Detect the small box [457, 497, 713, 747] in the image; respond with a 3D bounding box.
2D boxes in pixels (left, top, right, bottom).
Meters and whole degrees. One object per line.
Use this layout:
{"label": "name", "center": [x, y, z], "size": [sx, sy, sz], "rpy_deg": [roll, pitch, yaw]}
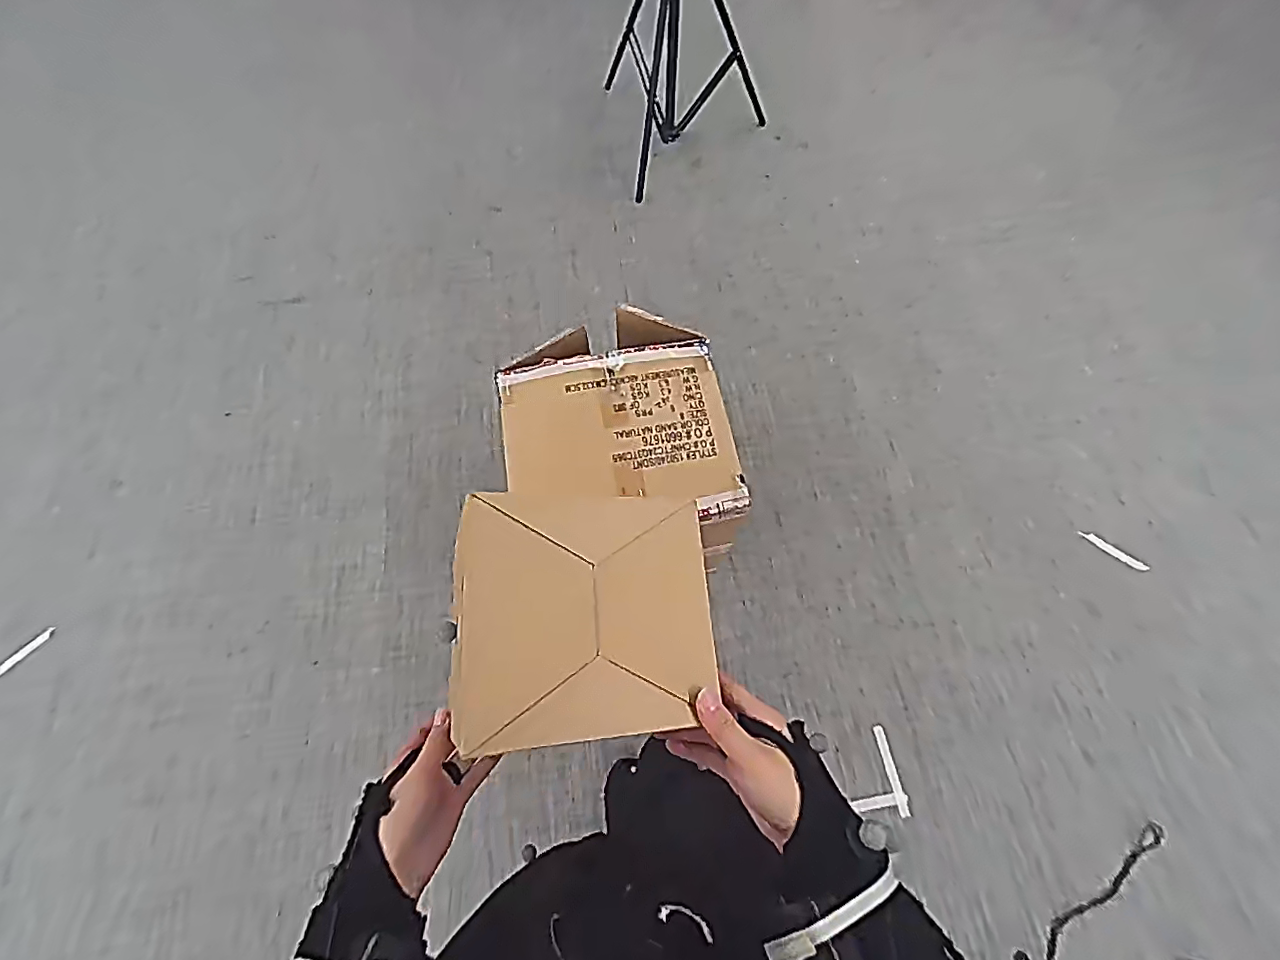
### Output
{"label": "small box", "center": [-0.057, 0.116, 0.449], "size": [0.179, 0.176, 0.168], "rpy_deg": [2, 69, -21]}
